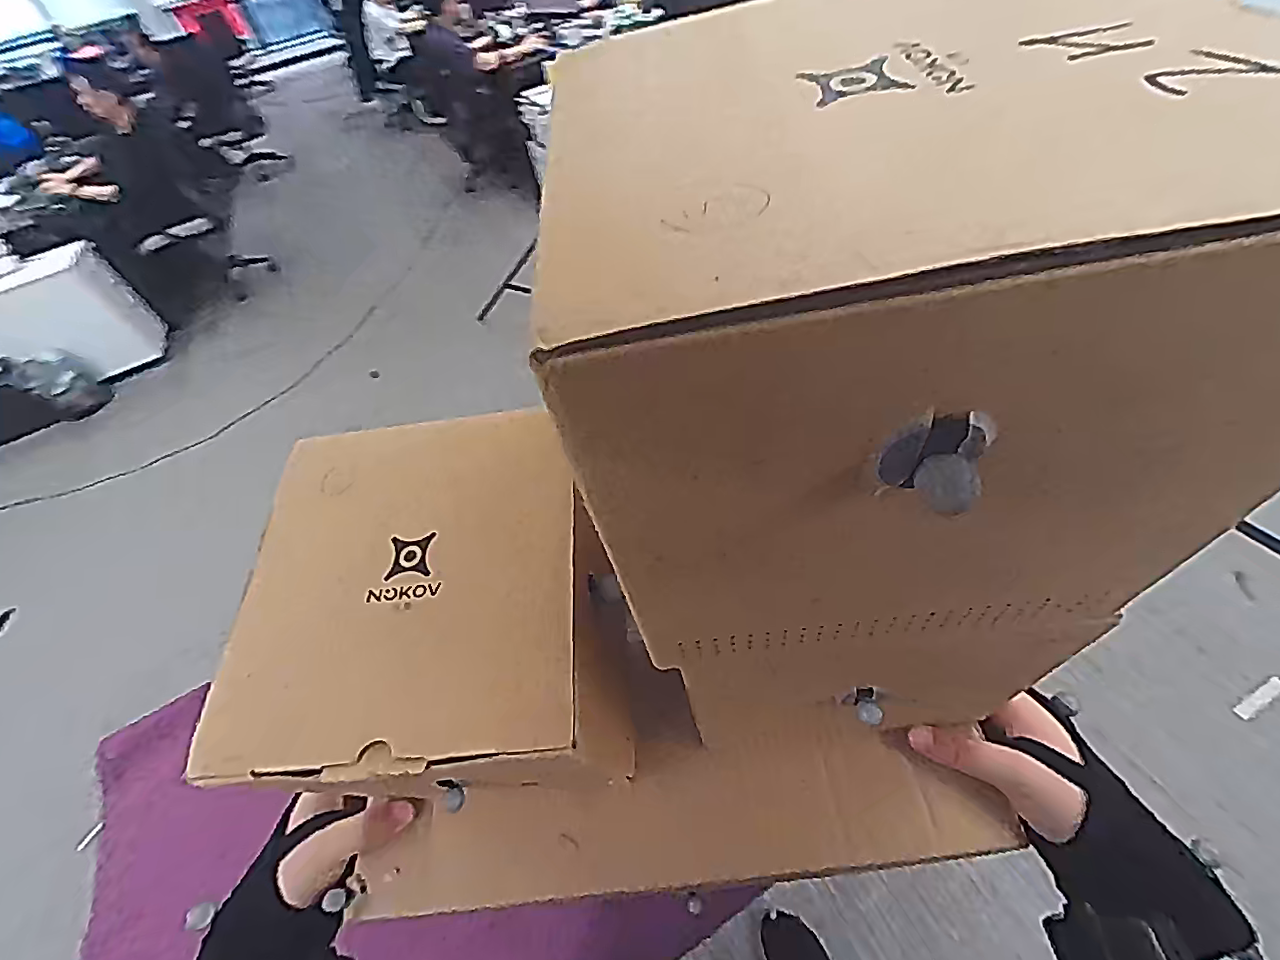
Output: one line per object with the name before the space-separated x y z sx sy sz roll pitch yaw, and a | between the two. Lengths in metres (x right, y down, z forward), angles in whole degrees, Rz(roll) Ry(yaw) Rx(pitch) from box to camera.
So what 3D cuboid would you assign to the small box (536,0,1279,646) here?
small box | 0.077 -0.052 0.192 0.179 0.176 0.168 -7 53 5
